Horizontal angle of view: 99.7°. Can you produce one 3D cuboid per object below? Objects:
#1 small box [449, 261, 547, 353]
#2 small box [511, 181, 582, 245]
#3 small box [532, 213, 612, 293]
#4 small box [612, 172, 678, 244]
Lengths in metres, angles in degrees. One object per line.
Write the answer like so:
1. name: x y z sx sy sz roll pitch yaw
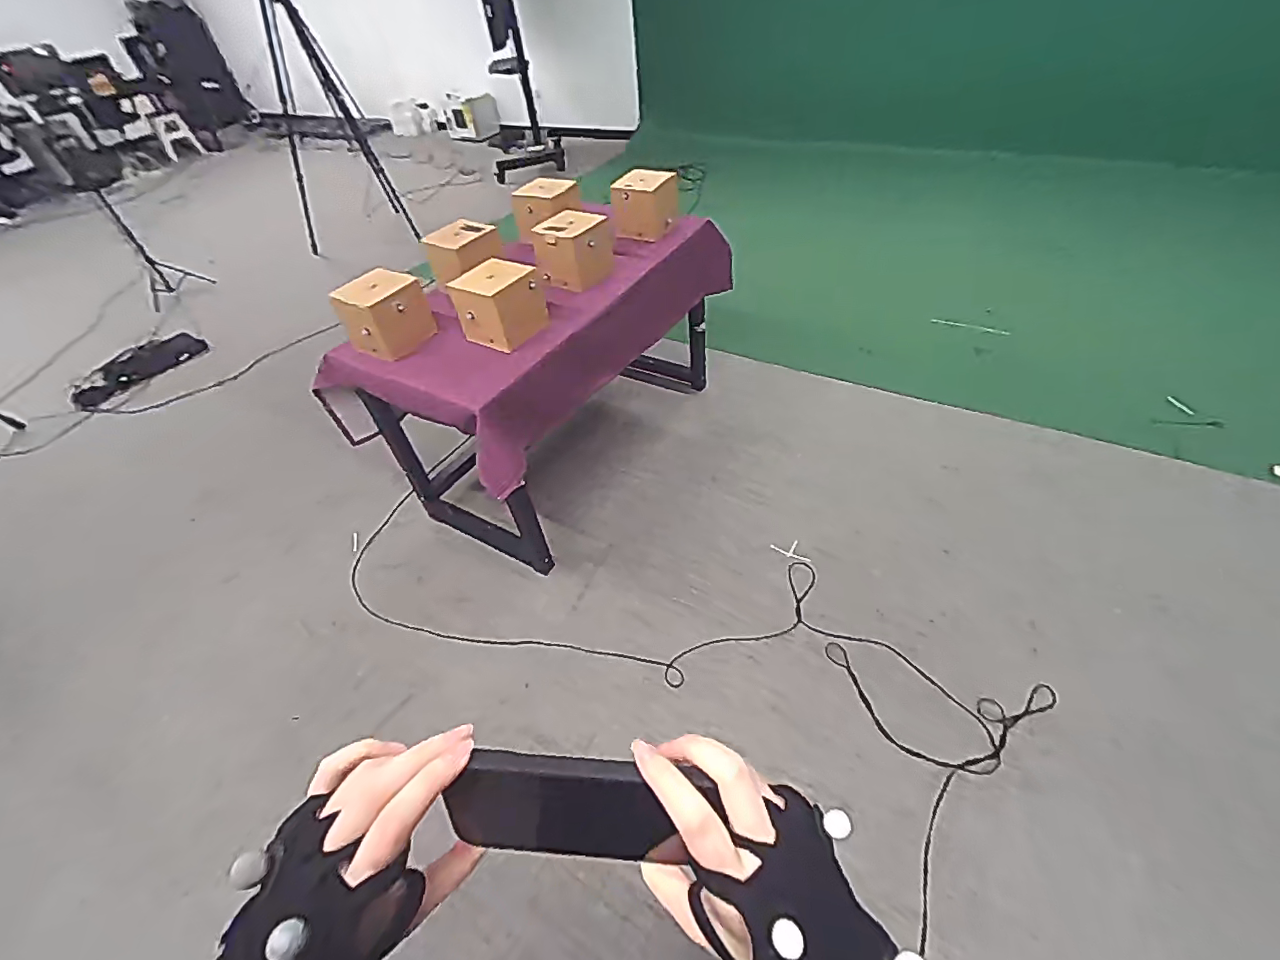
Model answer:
1. small box: -0.374 -0.468 1.466 0.168 0.176 0.179 22 51 26
2. small box: -0.321 -0.940 1.916 0.179 0.176 0.168 19 52 23
3. small box: -0.201 -0.700 1.668 0.168 0.176 0.179 24 52 27
4. small box: 0.022 -0.945 1.875 0.168 0.176 0.179 20 51 25
